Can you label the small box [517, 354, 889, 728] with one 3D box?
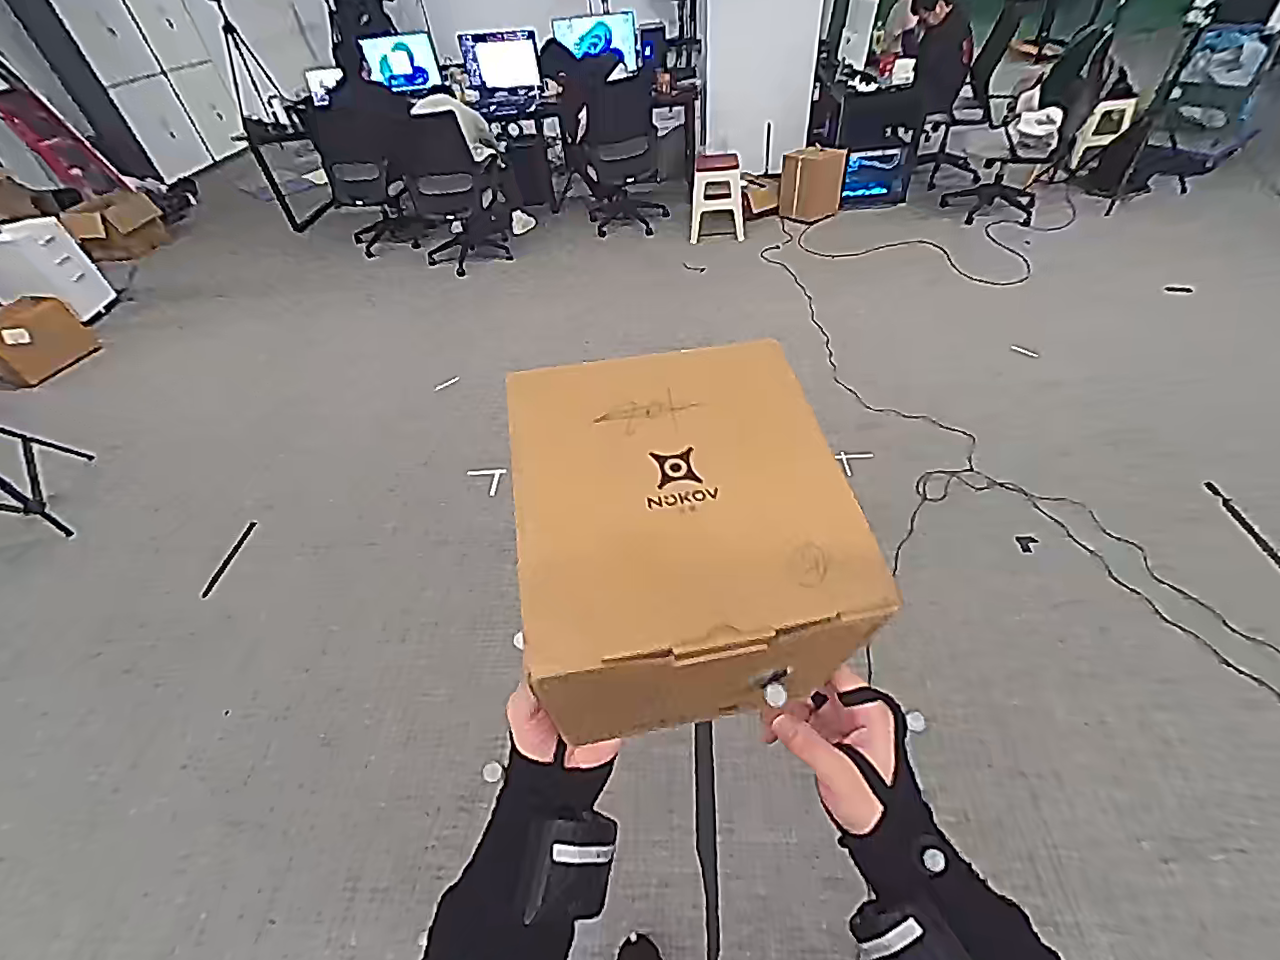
[{"bbox_3d":[0.020,0.047,0.348,0.168,0.176,0.179,-8,56,-7],"label":"small box"}]
